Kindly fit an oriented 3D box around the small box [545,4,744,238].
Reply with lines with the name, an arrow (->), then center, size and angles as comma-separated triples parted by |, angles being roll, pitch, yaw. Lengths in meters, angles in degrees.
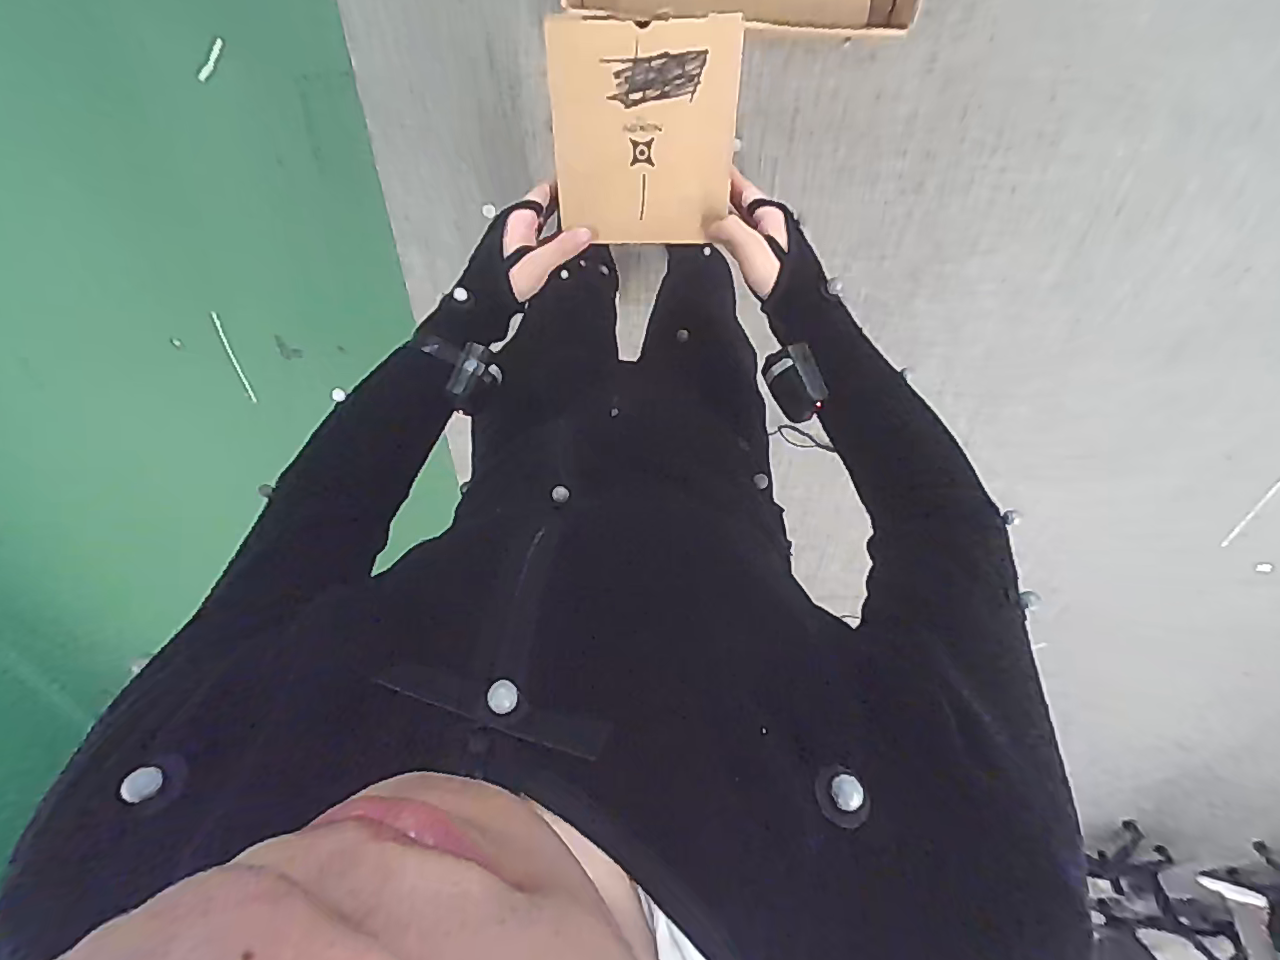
small box -> 0.005, -0.355, 0.549 | 0.168, 0.176, 0.179 | 1, 125, 2
